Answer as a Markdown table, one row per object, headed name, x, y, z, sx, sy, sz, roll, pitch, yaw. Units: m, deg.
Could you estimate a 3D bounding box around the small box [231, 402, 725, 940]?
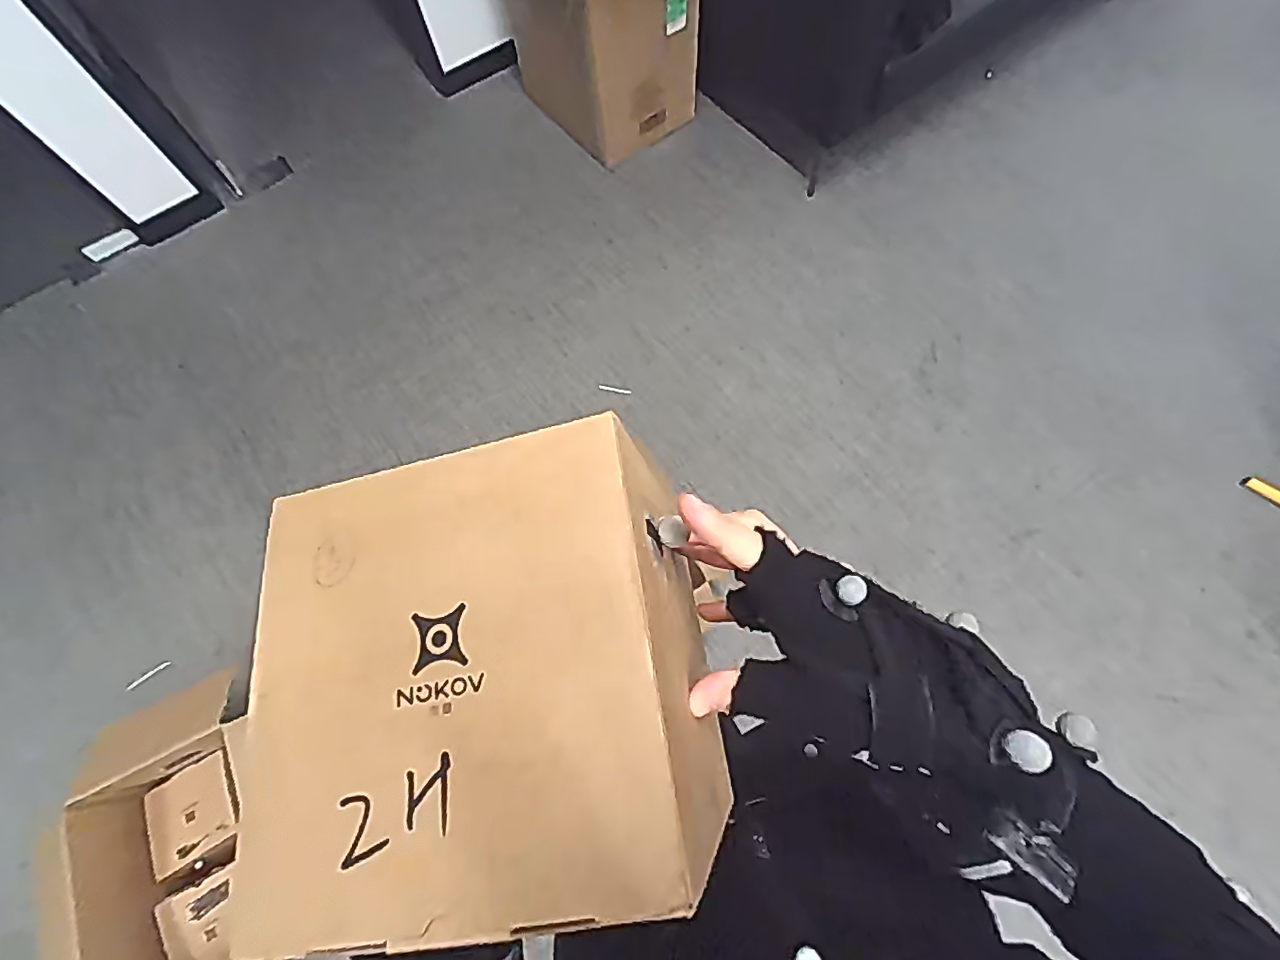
| name | x | y | z | sx | sy | sz | roll | pitch | yaw |
| --- | --- | --- | --- | --- | --- | --- | --- | --- | --- |
| small box | -0.057 | 0.089 | 0.279 | 0.168 | 0.176 | 0.179 | -13 | 69 | 9 |
